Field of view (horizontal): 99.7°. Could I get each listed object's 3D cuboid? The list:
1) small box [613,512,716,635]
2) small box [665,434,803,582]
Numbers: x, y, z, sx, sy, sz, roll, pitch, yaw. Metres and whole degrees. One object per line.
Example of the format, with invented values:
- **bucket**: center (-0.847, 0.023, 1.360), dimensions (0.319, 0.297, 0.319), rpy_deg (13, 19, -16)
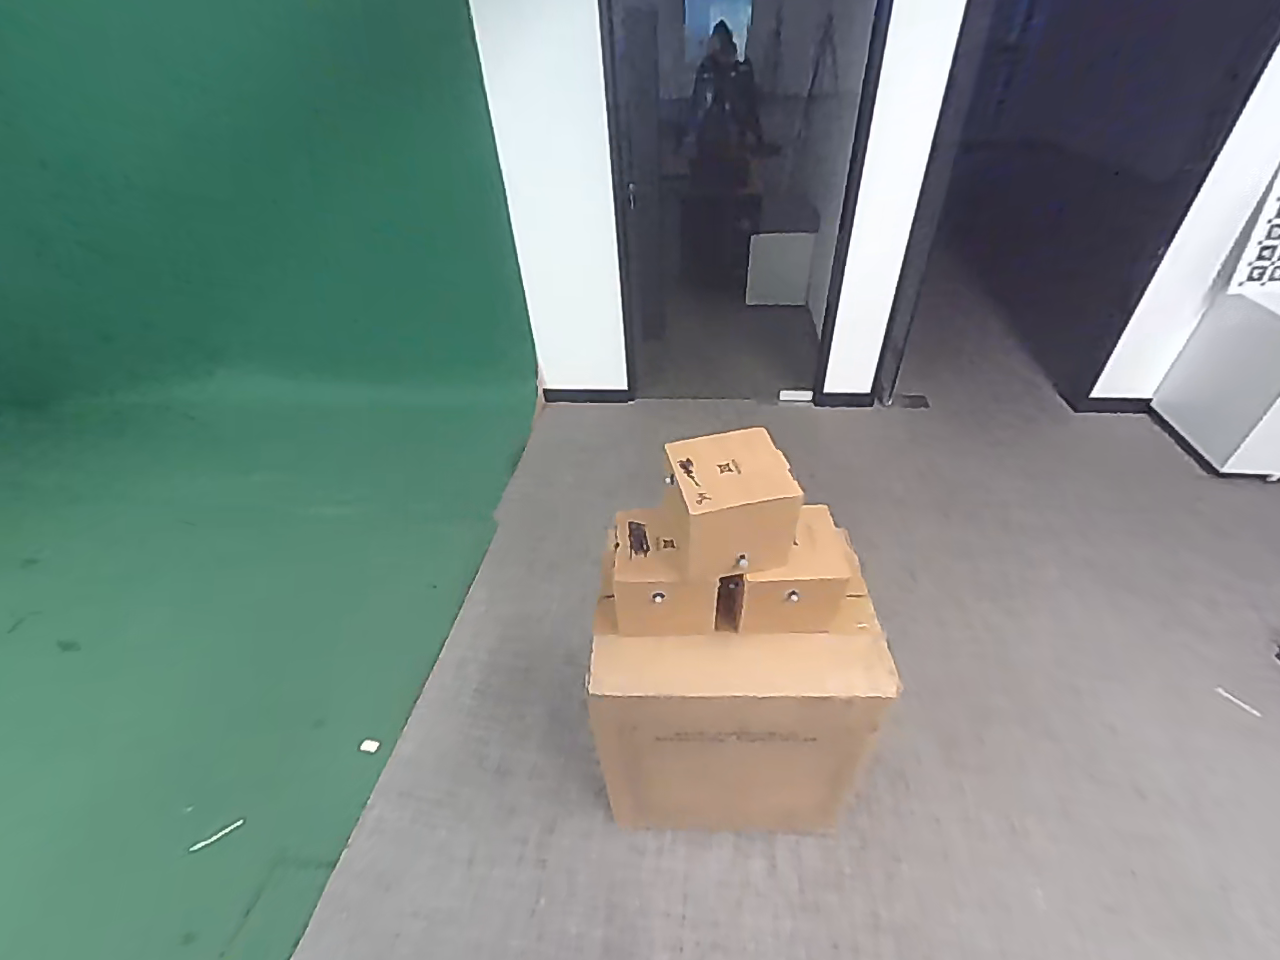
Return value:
- **small box**: center (0.047, 0.175, 1.007), dimensions (0.179, 0.176, 0.168), rpy_deg (-1, 43, 2)
- **small box**: center (0.143, 0.047, 0.898), dimensions (0.179, 0.176, 0.168), rpy_deg (-9, 43, -7)
